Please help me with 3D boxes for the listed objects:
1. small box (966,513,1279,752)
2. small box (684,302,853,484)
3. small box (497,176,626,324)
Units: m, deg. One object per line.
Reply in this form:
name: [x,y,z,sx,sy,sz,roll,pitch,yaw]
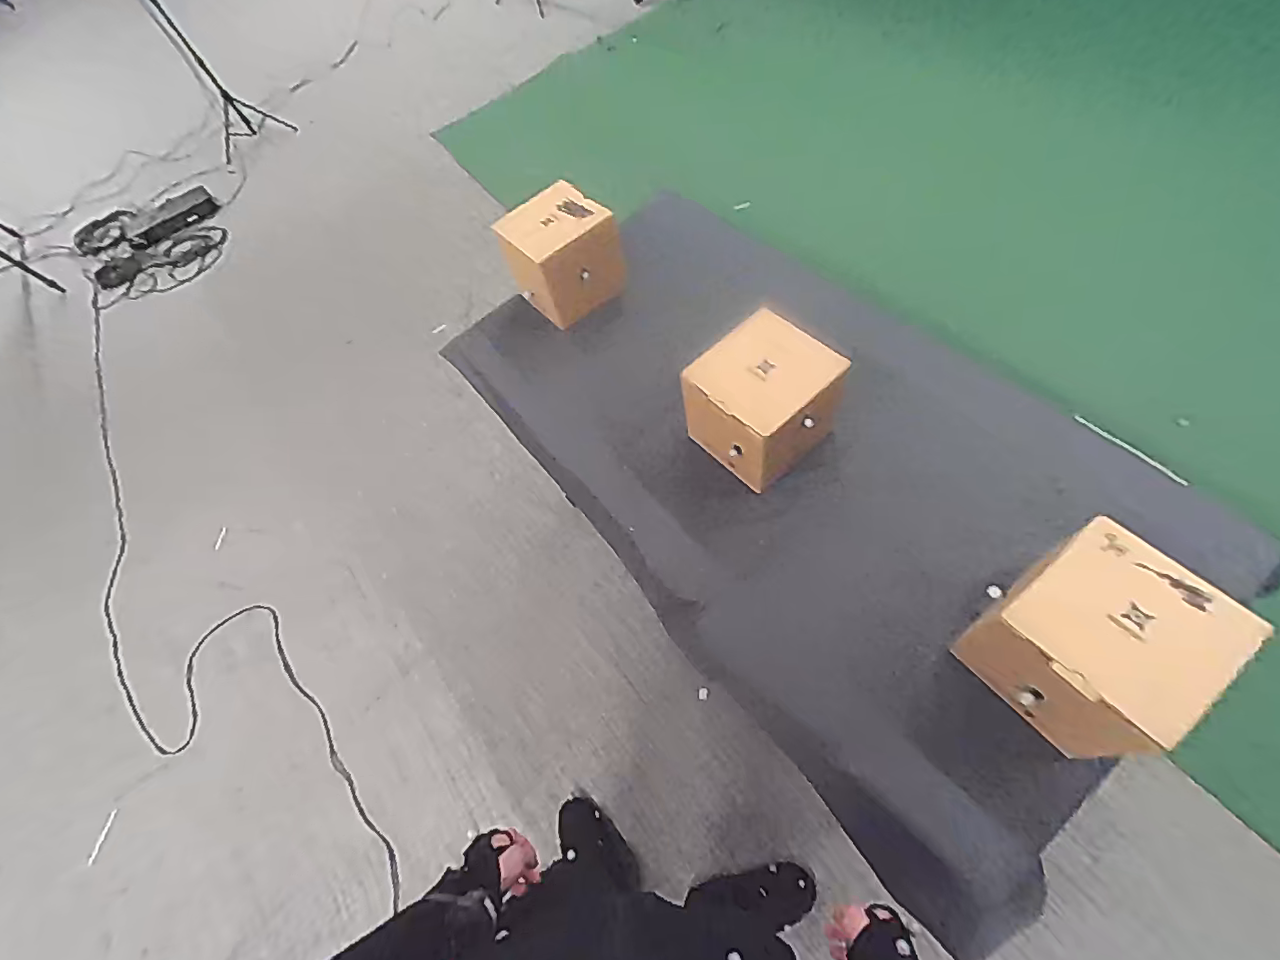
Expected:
small box: [0.498,0.175,0.595,0.179,0.176,0.168,-38,61,-10]
small box: [0.189,-0.125,0.823,0.179,0.176,0.168,-39,63,-13]
small box: [-0.142,-0.446,1.059,0.179,0.176,0.168,-39,62,-12]
